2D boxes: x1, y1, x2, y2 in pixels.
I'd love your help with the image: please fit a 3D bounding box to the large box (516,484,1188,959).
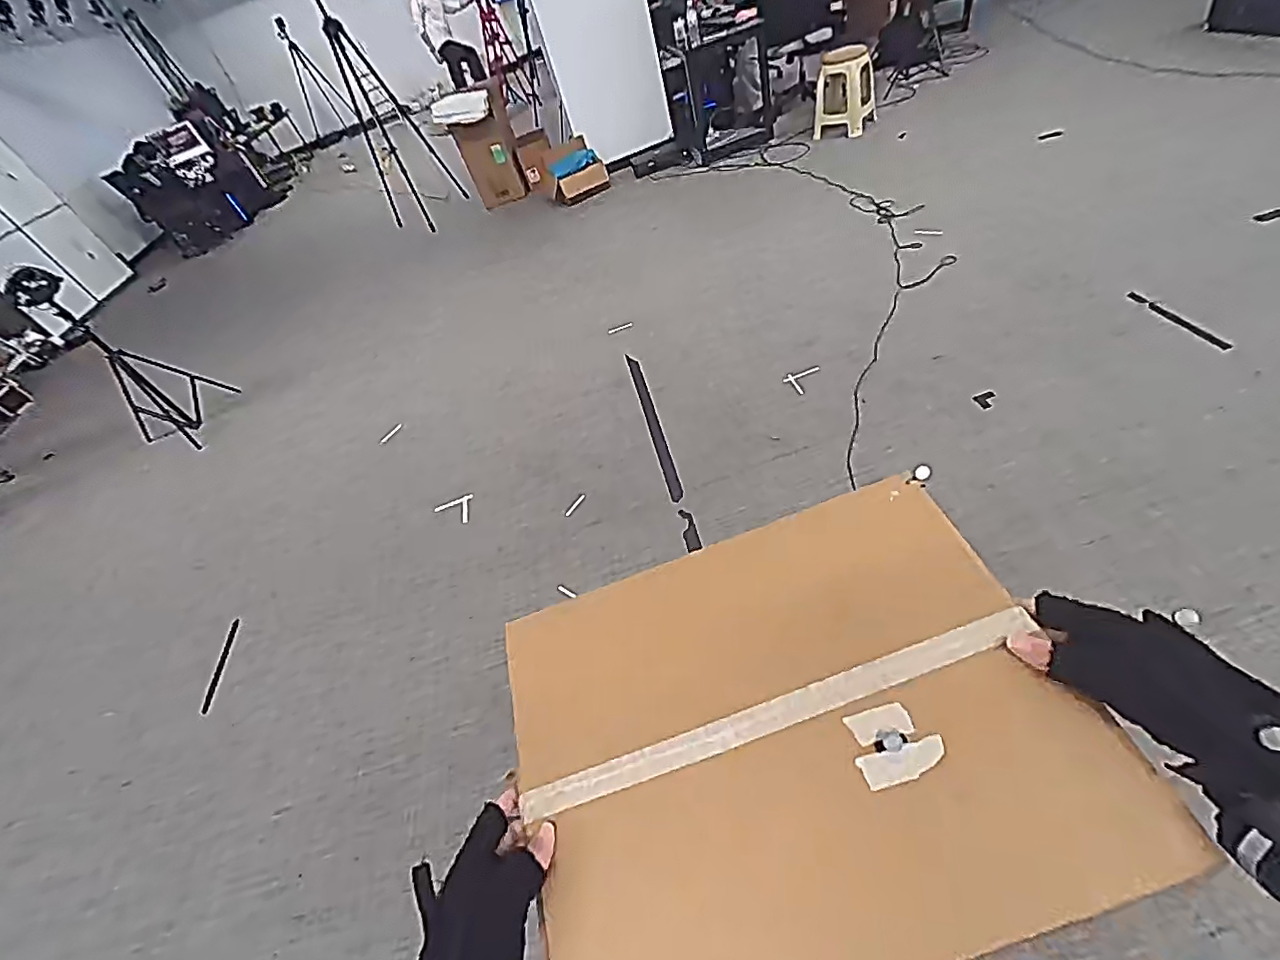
[{"bbox_3d":[0.140,0.274,0.532,0.408,0.320,0.320,-21,51,0],"label":"large box"}]
